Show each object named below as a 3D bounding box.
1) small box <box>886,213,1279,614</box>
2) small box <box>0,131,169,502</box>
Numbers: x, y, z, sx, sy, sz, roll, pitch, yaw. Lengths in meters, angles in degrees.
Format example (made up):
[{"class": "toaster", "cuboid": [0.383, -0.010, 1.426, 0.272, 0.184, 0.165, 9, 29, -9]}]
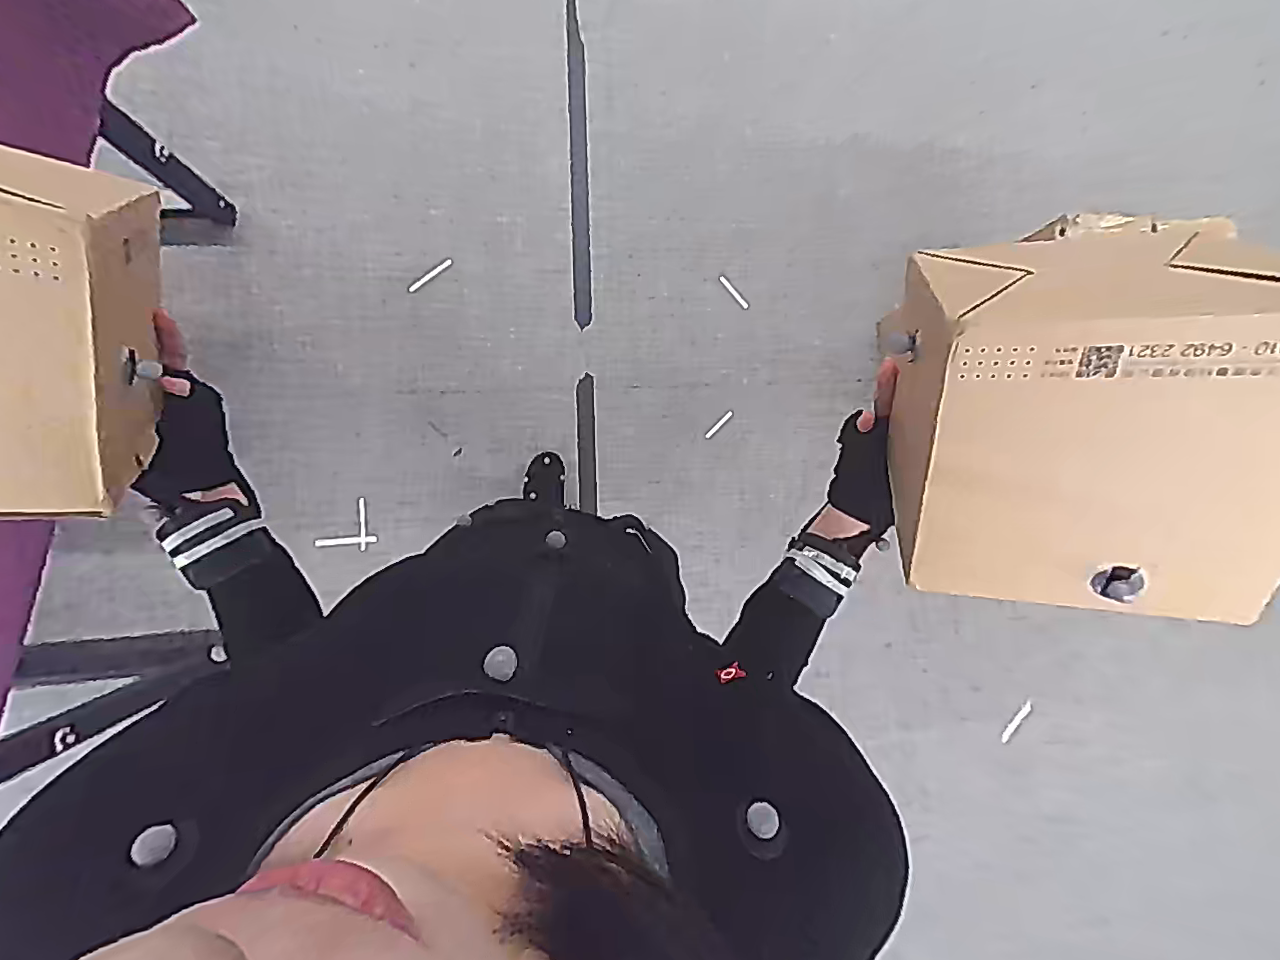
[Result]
[{"class": "small box", "cuboid": [0.249, -0.051, 0.322, 0.168, 0.179, 0.176, 3, 124, 19]}, {"class": "small box", "cuboid": [-0.382, -0.103, 0.288, 0.179, 0.168, 0.176, 4, 115, -33]}]
